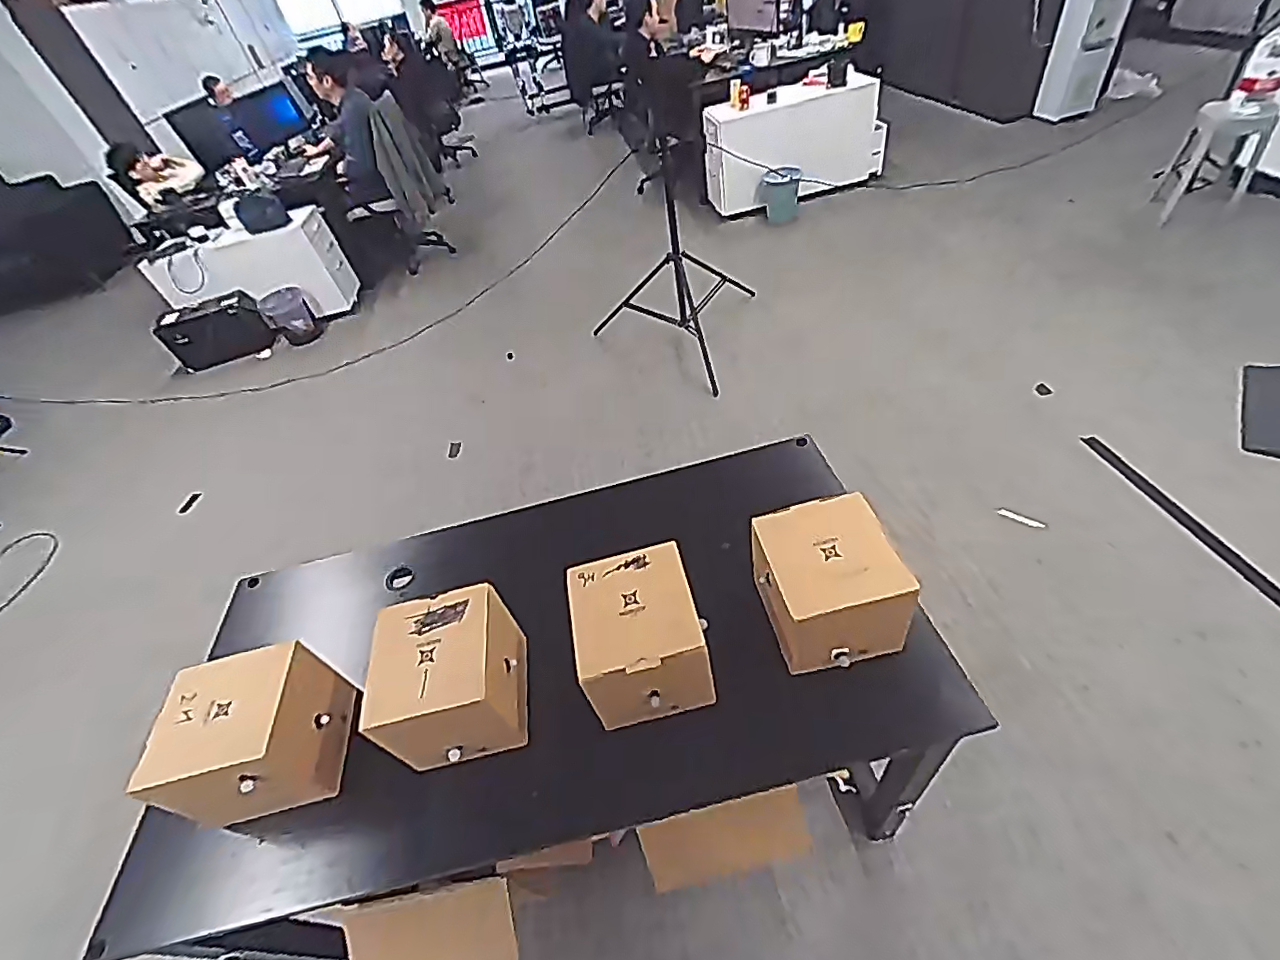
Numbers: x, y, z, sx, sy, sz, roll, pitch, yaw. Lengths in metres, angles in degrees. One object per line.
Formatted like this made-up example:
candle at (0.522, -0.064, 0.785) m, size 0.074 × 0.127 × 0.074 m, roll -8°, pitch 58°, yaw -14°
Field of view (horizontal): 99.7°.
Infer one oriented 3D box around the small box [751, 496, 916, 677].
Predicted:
small box at (0.267, 0.156, 0.788) m, size 0.168 × 0.176 × 0.179 m, roll -15°, pitch 45°, yaw 1°

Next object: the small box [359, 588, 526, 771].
small box at (-0.270, 0.290, 0.785) m, size 0.168 × 0.176 × 0.179 m, roll -14°, pitch 45°, yaw 0°

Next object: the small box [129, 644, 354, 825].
small box at (-0.544, 0.366, 0.774) m, size 0.179 × 0.176 × 0.168 m, roll -15°, pitch 44°, yaw -1°

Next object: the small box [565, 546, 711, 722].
small box at (-0.001, 0.229, 0.781) m, size 0.168 × 0.176 × 0.179 m, roll -15°, pitch 45°, yaw 0°
